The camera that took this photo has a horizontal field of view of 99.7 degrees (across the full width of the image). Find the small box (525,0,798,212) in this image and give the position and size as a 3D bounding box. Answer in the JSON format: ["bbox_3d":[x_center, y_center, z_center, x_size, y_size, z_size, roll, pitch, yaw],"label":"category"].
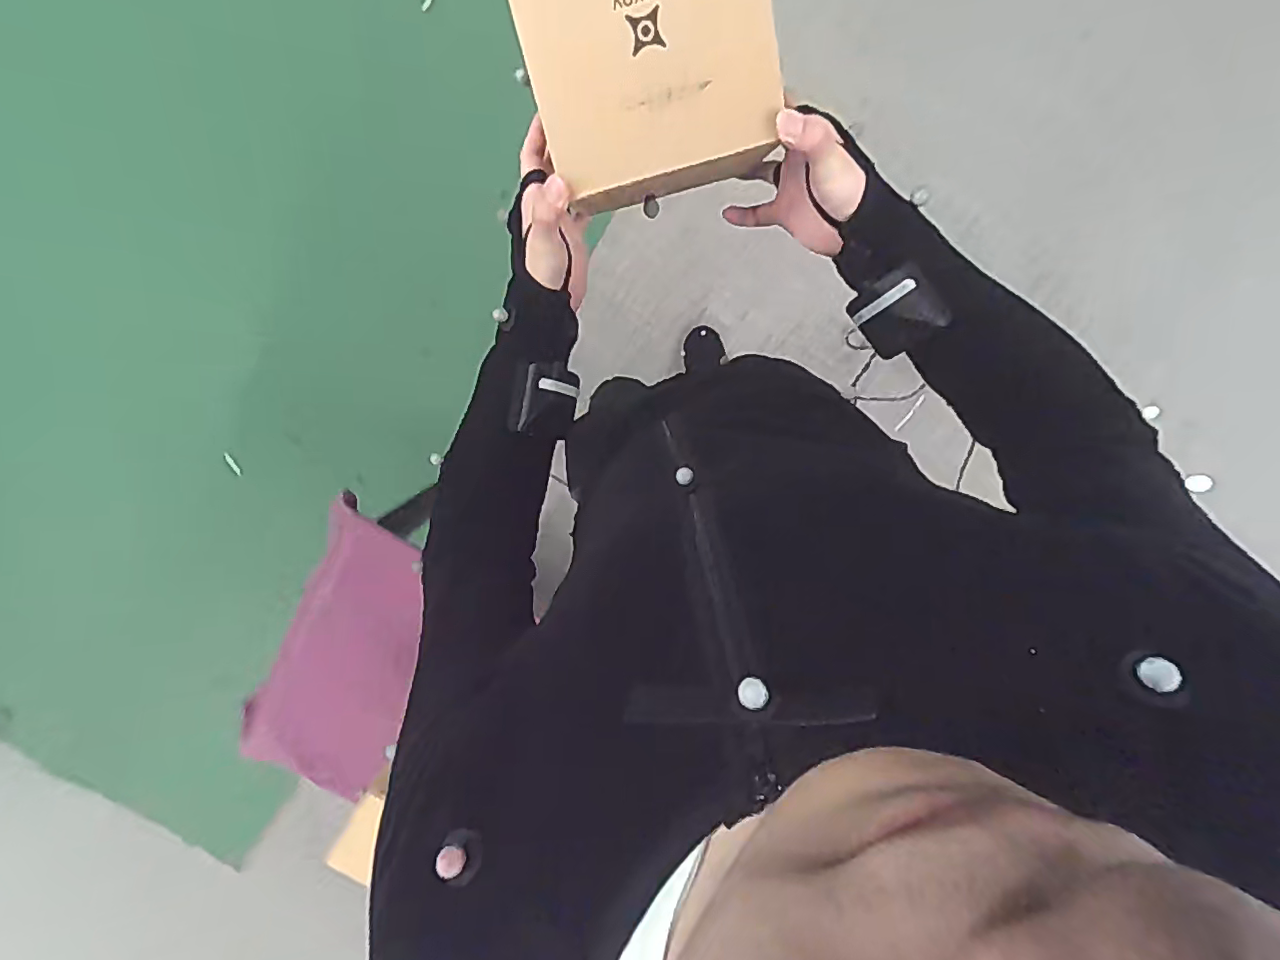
[{"bbox_3d":[0.011,-0.322,0.414,0.168,0.176,0.179,-10,112,5],"label":"small box"}]

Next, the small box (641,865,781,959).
[{"bbox_3d":[0.104,0.748,0.833,0.168,0.176,0.179,27,107,-2],"label":"small box"}]

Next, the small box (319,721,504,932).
[{"bbox_3d":[-0.324,0.502,0.802,0.168,0.176,0.179,32,109,-5],"label":"small box"}]

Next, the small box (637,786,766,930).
[{"bbox_3d":[0.112,0.718,0.997,0.168,0.176,0.179,26,107,-3],"label":"small box"}]
